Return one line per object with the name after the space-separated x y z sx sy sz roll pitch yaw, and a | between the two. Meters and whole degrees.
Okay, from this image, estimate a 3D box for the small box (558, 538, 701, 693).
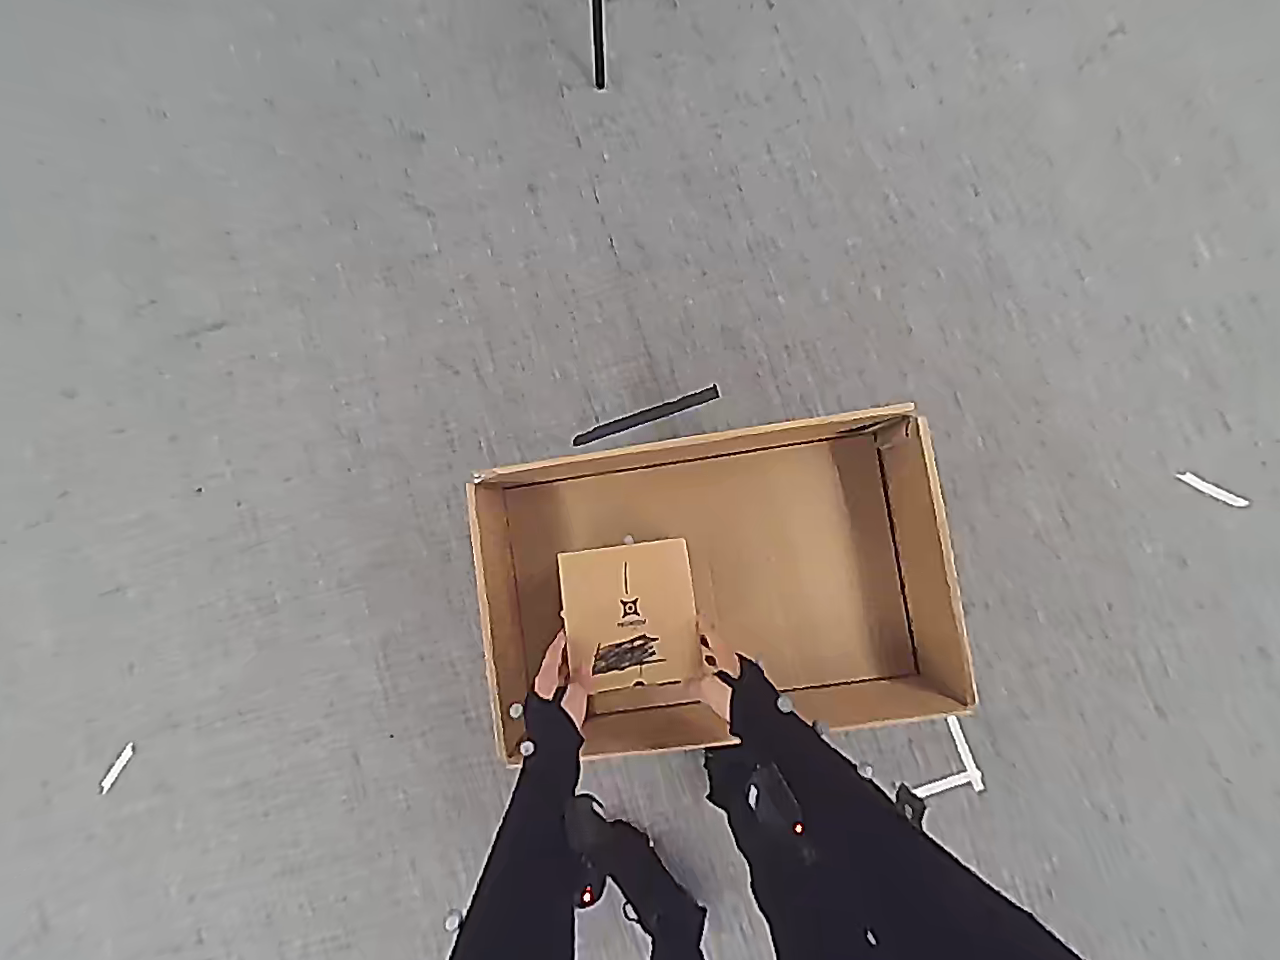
-0.012 0.178 0.750 0.168 0.176 0.179 -7 81 0 | small box
